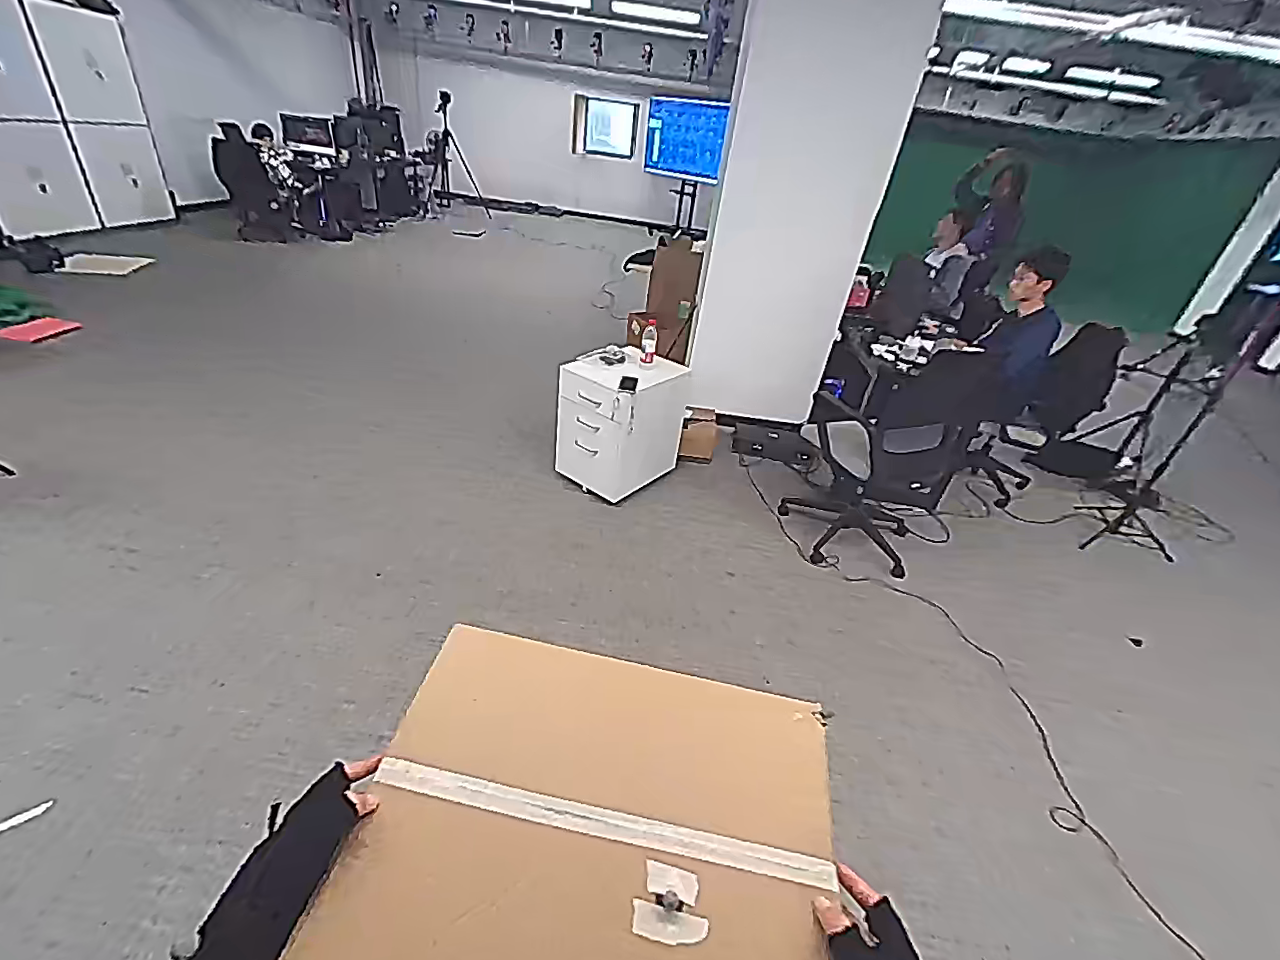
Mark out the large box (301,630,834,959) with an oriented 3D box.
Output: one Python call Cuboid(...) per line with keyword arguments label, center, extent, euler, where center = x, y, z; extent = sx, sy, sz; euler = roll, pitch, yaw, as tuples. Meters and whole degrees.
Cuboid(label="large box", center=(-0.049, 0.413, 0.577), extent=(0.408, 0.320, 0.320), euler=(12, 42, 3))
